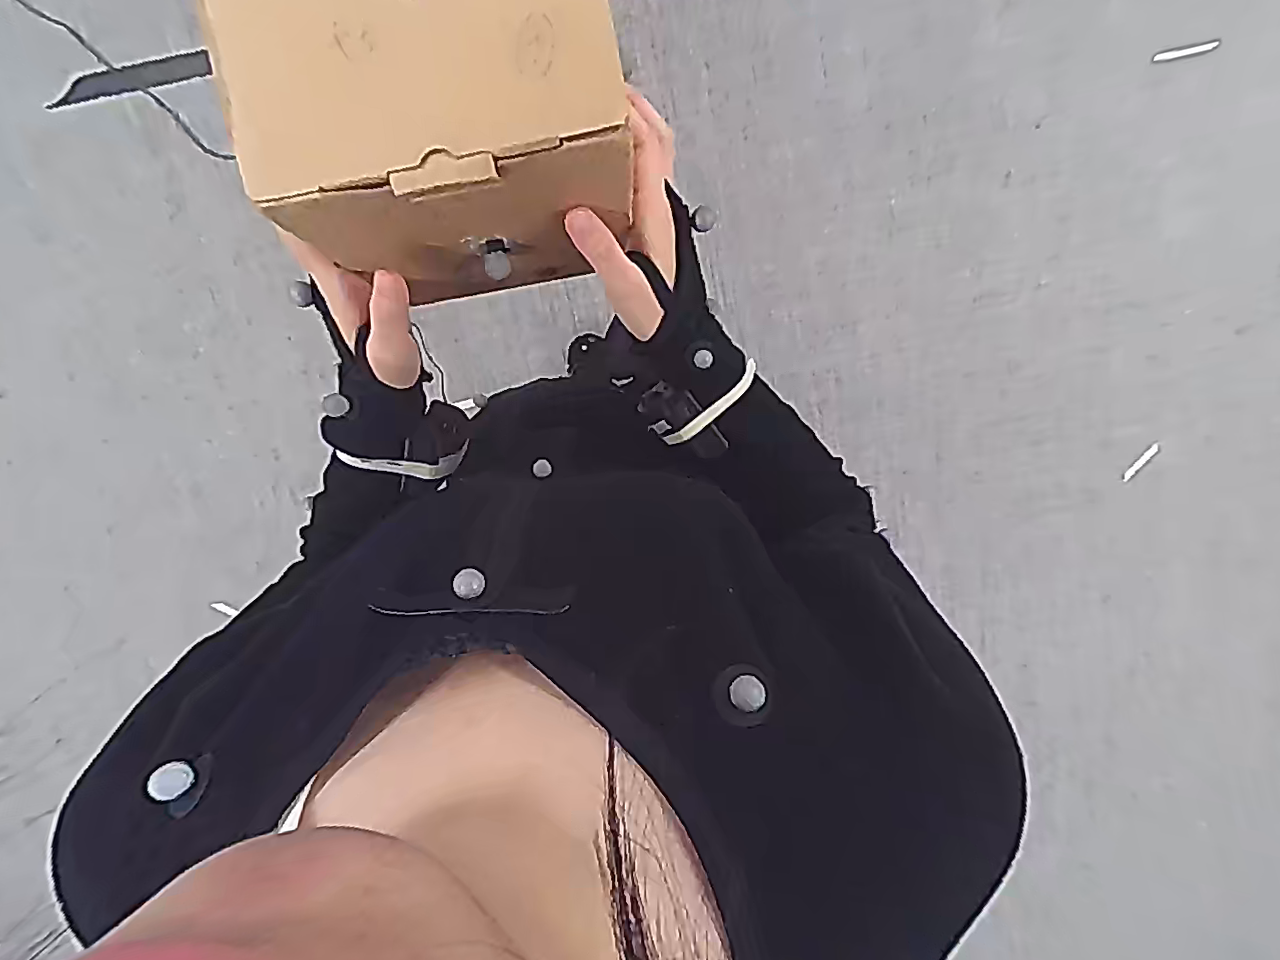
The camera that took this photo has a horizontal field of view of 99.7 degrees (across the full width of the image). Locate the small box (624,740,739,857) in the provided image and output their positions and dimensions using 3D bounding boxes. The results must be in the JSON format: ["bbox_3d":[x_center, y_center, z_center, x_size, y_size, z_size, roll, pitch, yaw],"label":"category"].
[{"bbox_3d":[0.070,0.567,0.901,0.179,0.176,0.168,-9,103,-1],"label":"small box"}]

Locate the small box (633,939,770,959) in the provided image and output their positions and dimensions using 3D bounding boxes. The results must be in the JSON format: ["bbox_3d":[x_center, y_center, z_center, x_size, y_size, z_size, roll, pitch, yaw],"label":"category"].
[{"bbox_3d":[0.083,0.643,0.584,0.168,0.176,0.179,-9,104,-1],"label":"small box"}]

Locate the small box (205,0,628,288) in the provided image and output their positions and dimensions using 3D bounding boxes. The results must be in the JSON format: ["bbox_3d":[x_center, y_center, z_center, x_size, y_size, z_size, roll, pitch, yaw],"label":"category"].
[{"bbox_3d":[-0.100,-0.221,0.304,0.168,0.176,0.179,-11,94,0],"label":"small box"}]

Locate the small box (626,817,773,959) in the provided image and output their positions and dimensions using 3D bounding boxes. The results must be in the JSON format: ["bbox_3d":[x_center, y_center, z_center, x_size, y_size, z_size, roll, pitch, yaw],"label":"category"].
[{"bbox_3d":[0.078,0.605,0.744,0.179,0.176,0.168,-9,103,-1],"label":"small box"}]
